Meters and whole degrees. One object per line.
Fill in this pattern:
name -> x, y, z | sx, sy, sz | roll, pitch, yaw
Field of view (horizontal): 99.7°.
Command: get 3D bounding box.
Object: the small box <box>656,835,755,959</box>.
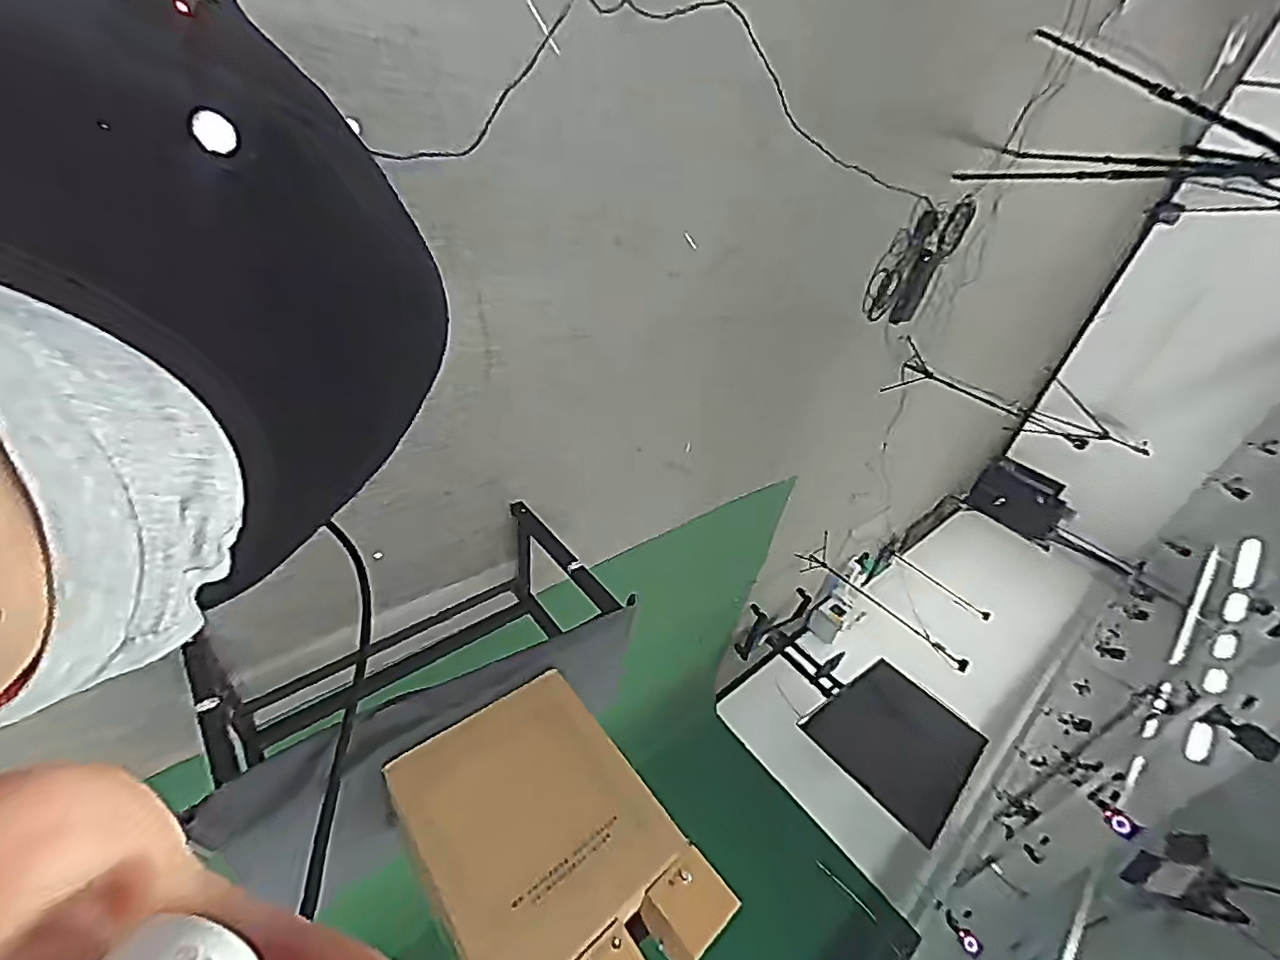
small box -> 0.158, 1.046, 1.361 | 0.168, 0.176, 0.179 | -27, 138, -36

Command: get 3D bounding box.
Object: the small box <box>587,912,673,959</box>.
small box -> -0.024, 1.123, 1.211 | 0.168, 0.176, 0.179 | -24, 138, -34
